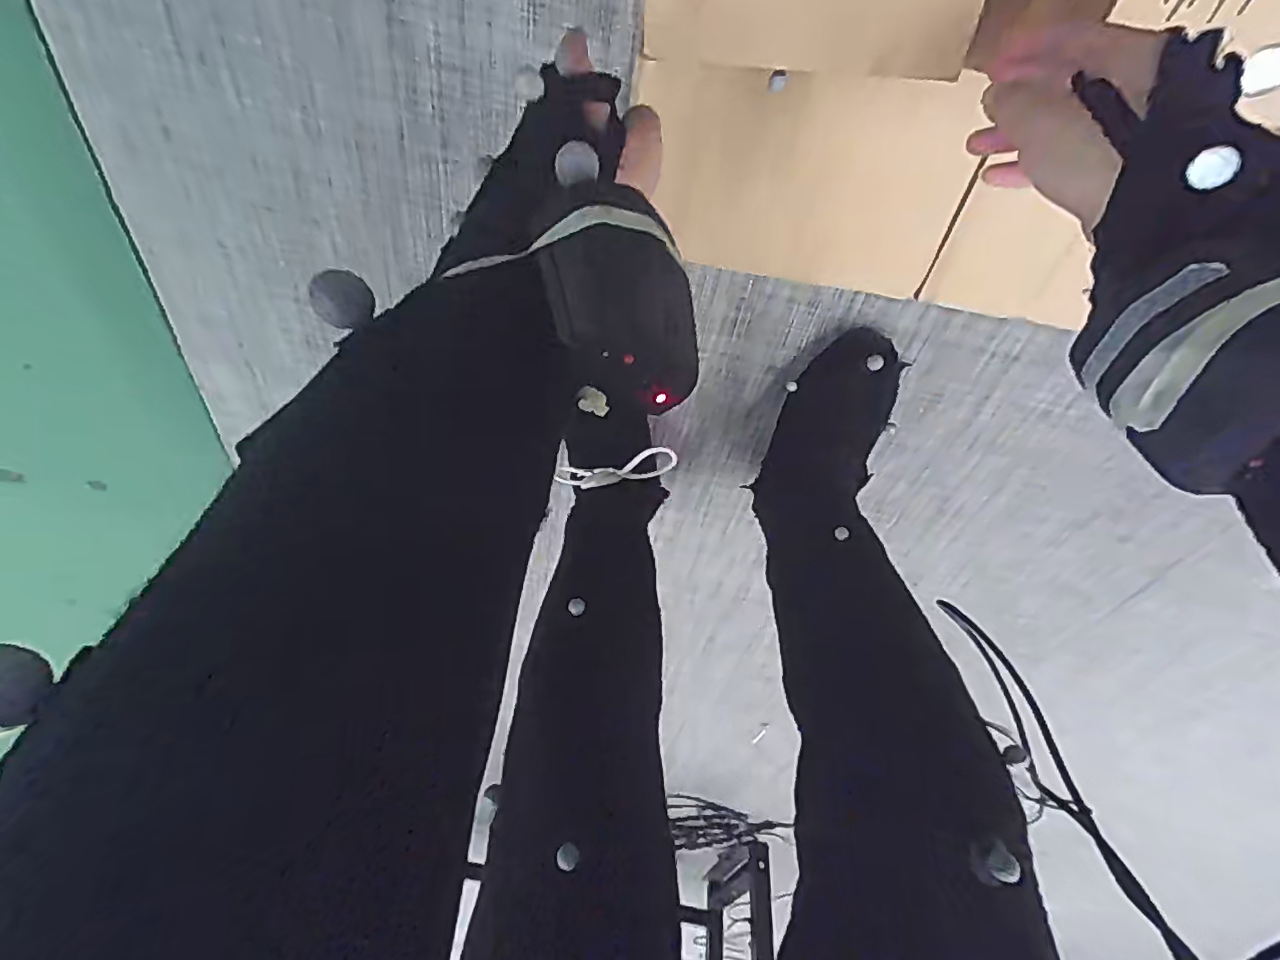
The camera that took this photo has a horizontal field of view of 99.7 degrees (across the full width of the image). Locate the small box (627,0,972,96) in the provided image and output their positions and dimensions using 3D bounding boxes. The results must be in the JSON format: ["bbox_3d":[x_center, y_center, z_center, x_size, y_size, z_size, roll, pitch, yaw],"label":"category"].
[{"bbox_3d":[0.092,-0.334,0.308,0.179,0.176,0.168,6,132,2],"label":"small box"}]
